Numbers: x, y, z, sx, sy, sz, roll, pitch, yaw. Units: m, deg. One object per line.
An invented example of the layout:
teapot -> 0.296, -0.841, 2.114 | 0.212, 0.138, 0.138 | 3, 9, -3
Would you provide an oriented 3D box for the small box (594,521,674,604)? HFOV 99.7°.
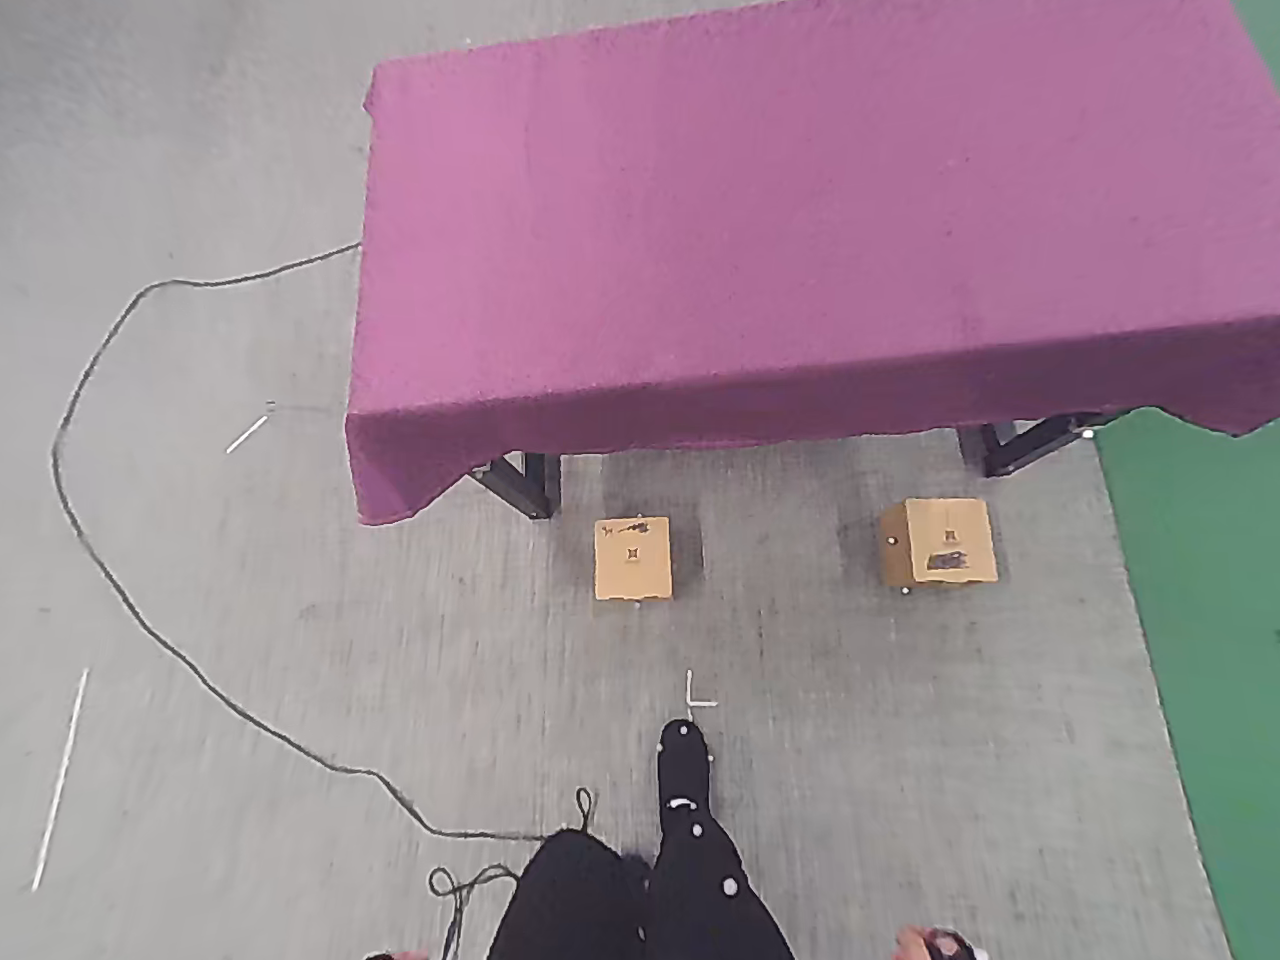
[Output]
small box -> -0.009, 0.196, 1.250 | 0.168, 0.176, 0.179 | -3, 75, 7
